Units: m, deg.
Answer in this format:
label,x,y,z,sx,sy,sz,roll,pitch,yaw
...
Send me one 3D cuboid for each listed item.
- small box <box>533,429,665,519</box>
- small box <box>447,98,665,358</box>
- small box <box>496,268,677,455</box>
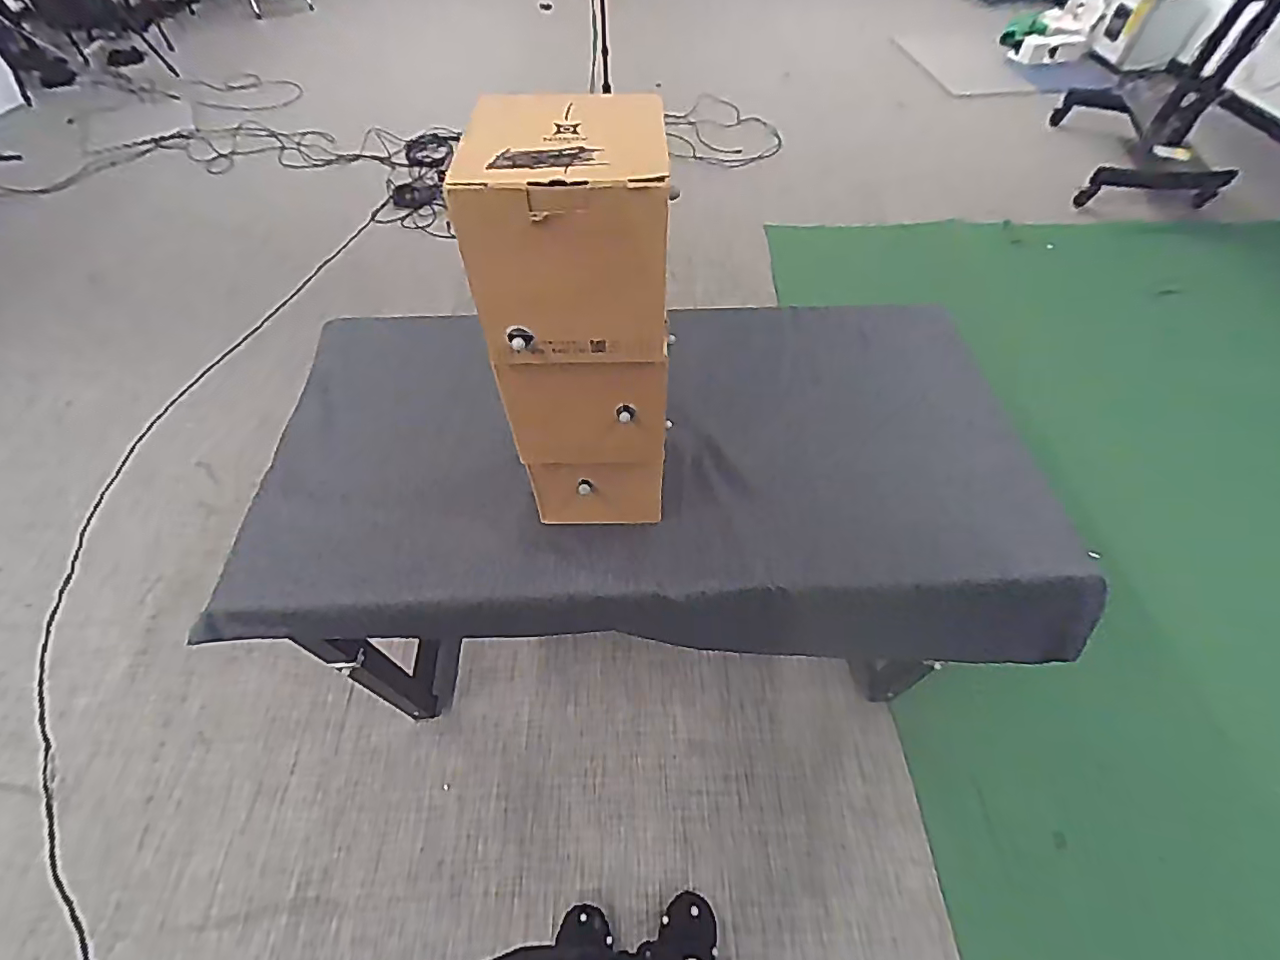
label,x,y,z,sx,sy,sz,roll,pitch,yaw
small box,-0.058,-0.054,0.787,0.179,0.176,0.168,-3,53,-2
small box,-0.061,-0.230,0.509,0.168,0.176,0.179,0,53,-1
small box,-0.058,-0.143,0.629,0.179,0.176,0.168,-3,54,-3
